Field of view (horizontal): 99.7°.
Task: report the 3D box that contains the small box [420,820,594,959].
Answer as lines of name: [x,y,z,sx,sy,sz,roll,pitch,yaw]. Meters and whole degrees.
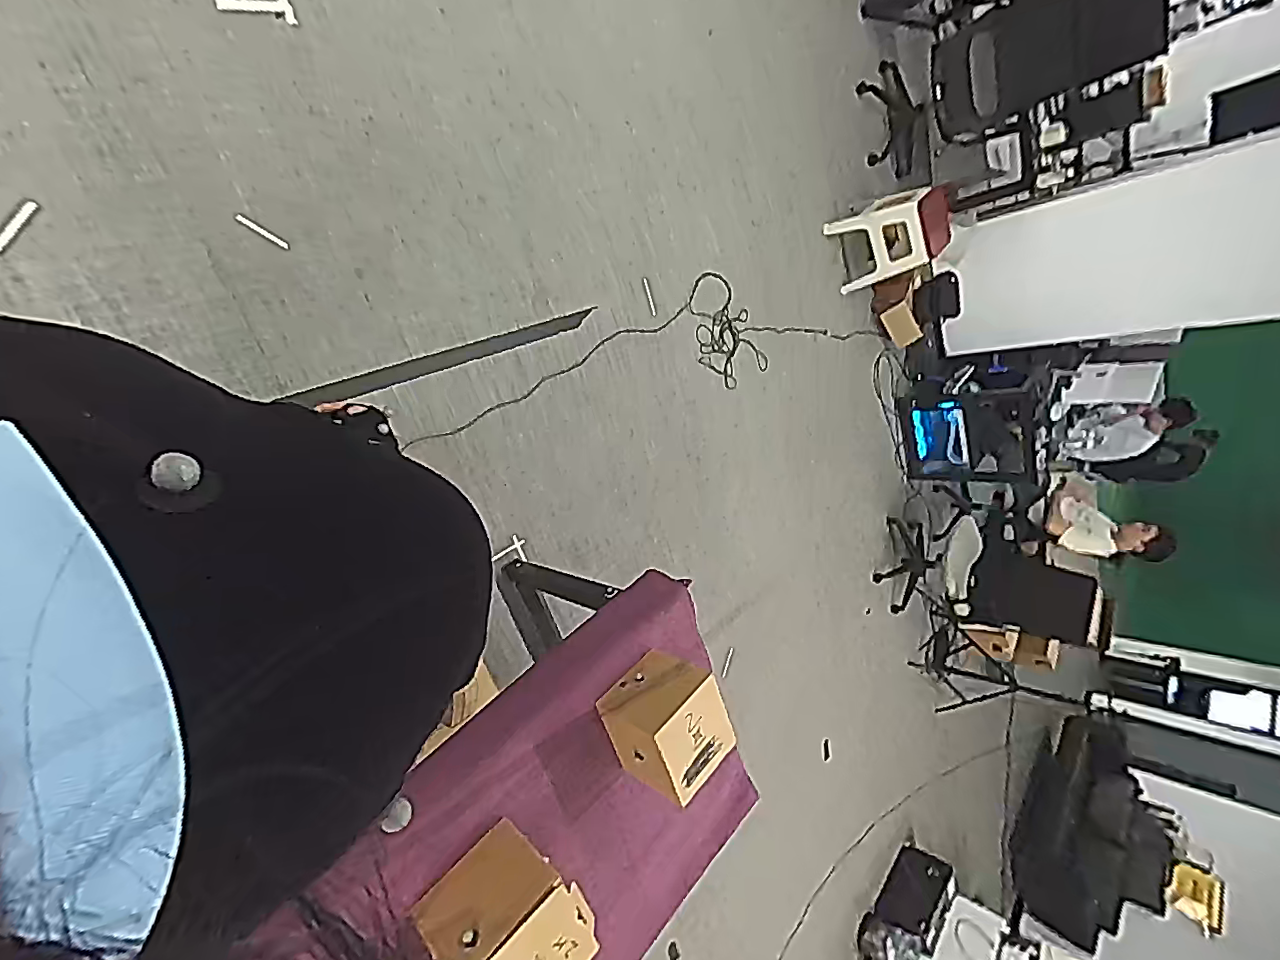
small box: [-0.205,0.671,0.813,0.179,0.176,0.168,-34,116,-36]
